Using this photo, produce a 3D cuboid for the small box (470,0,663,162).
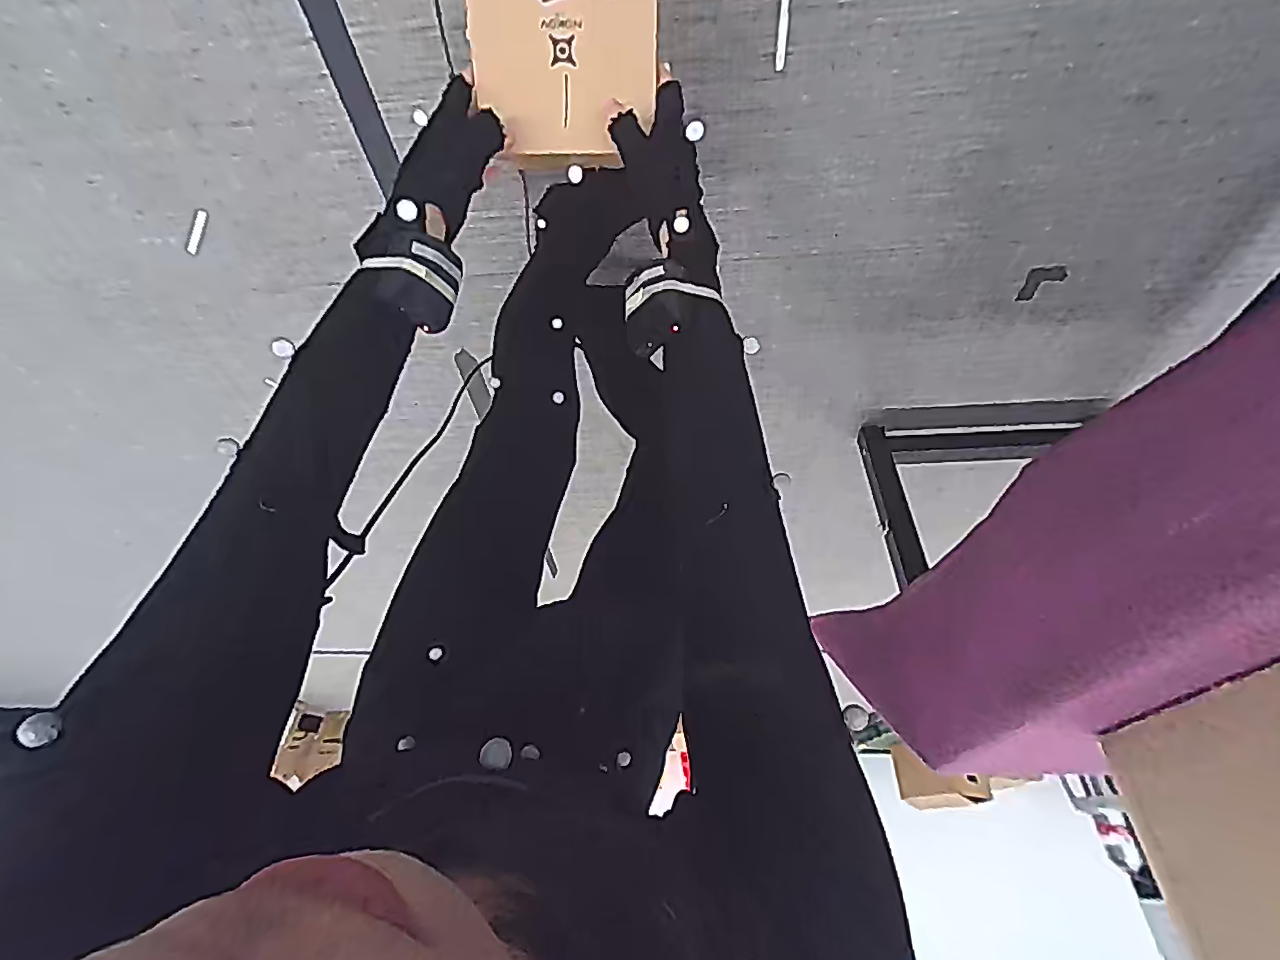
[{"bbox_3d":[-0.065,-0.424,0.535,0.168,0.176,0.179,0,117,-1],"label":"small box"}]
